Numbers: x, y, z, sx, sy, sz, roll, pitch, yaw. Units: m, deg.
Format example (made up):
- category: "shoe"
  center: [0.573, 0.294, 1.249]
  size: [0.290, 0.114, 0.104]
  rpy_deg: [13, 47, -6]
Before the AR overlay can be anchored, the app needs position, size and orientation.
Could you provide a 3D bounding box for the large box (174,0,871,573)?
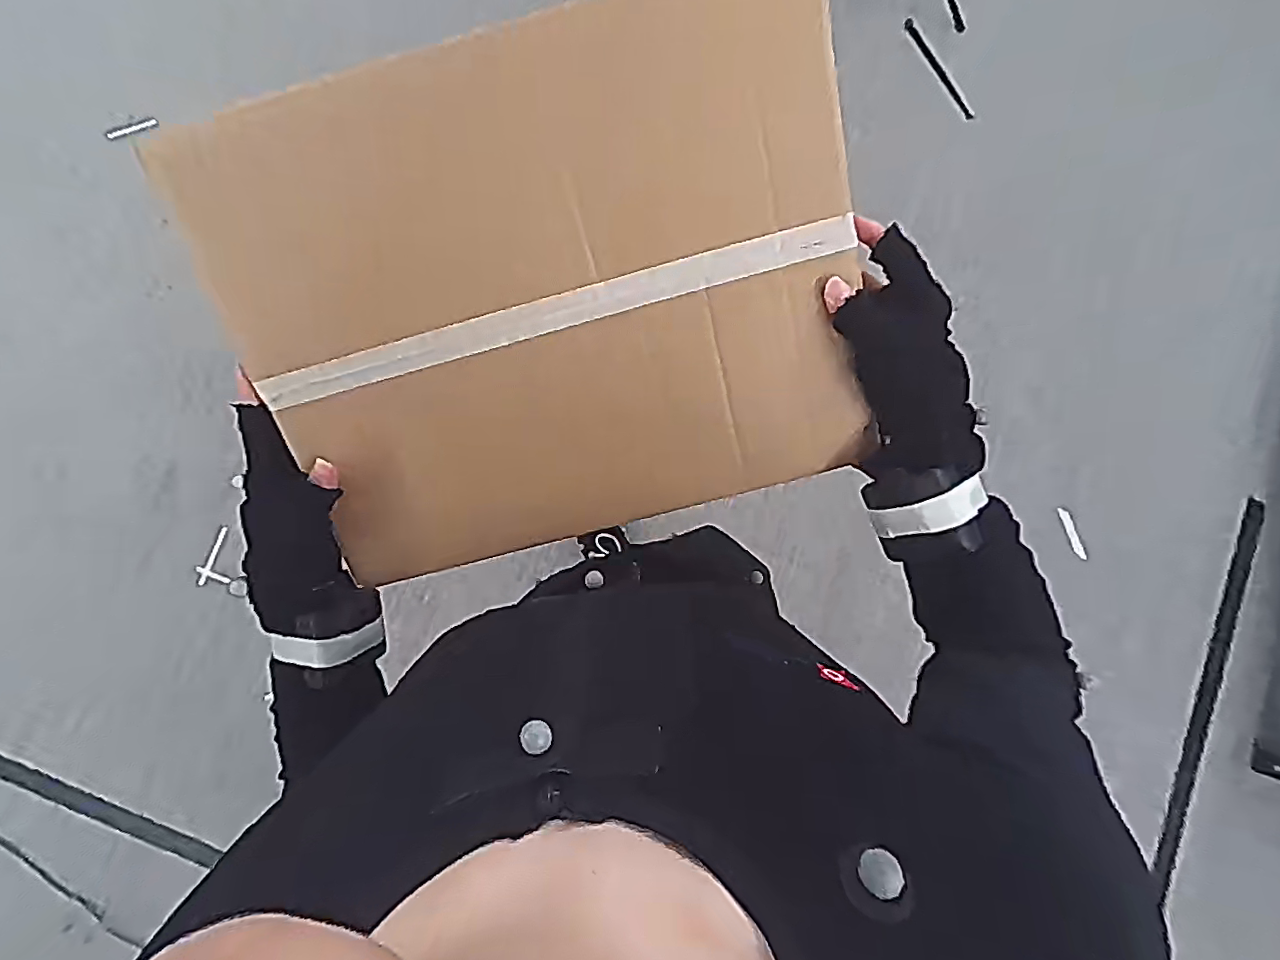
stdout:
- category: "large box"
  center: [-0.062, -0.162, 0.504]
  size: [0.408, 0.320, 0.320]
  rpy_deg: [-14, 111, 3]
